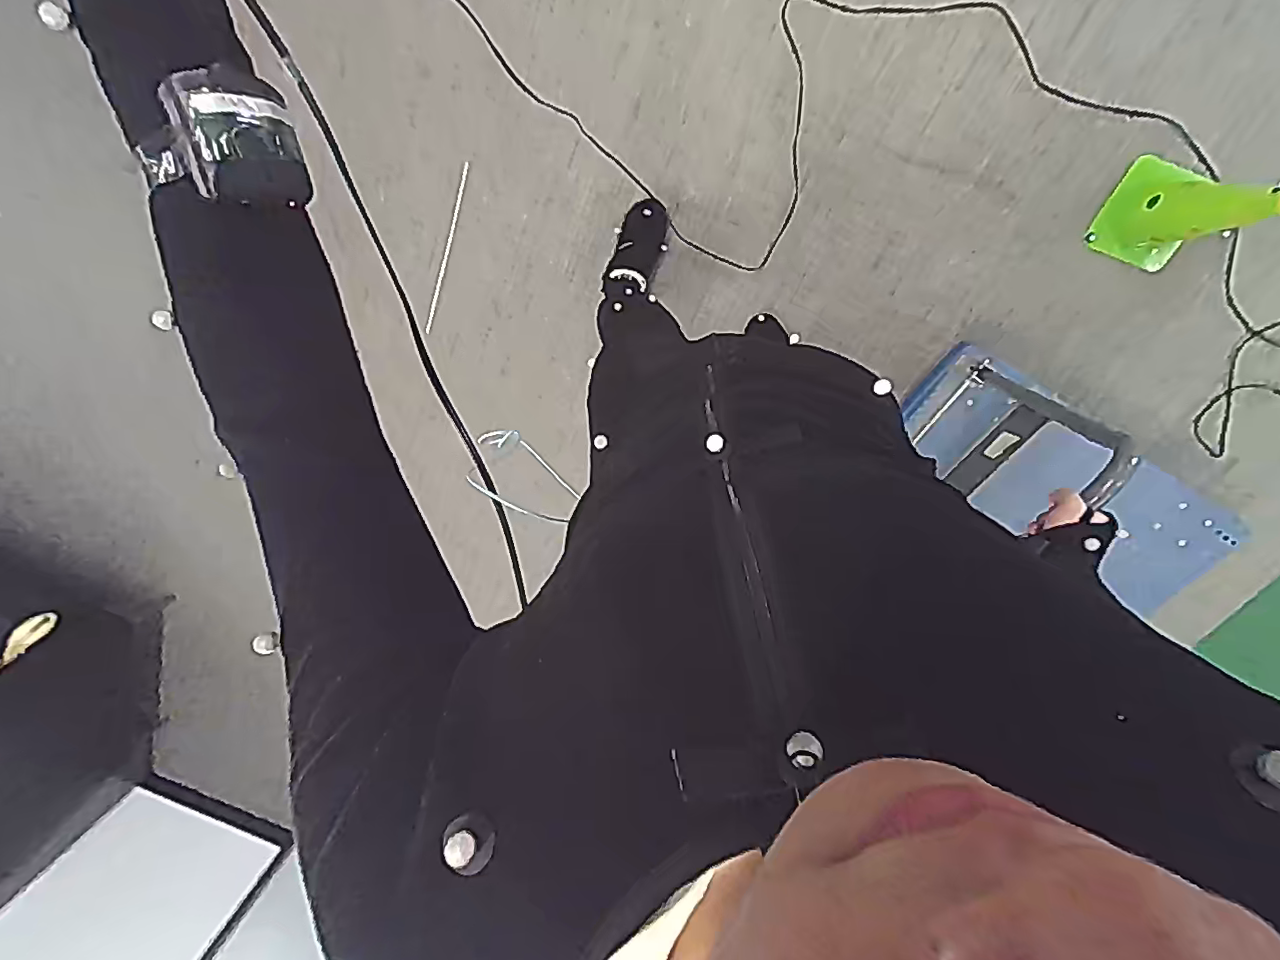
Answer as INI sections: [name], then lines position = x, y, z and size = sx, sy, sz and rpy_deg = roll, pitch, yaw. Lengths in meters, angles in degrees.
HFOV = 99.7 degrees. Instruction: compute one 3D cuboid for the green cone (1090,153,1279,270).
[green cone]
position = 1.141, -0.542, 1.067
size = 0.200, 0.368, 0.202
rpy_deg = 22, 113, 0
